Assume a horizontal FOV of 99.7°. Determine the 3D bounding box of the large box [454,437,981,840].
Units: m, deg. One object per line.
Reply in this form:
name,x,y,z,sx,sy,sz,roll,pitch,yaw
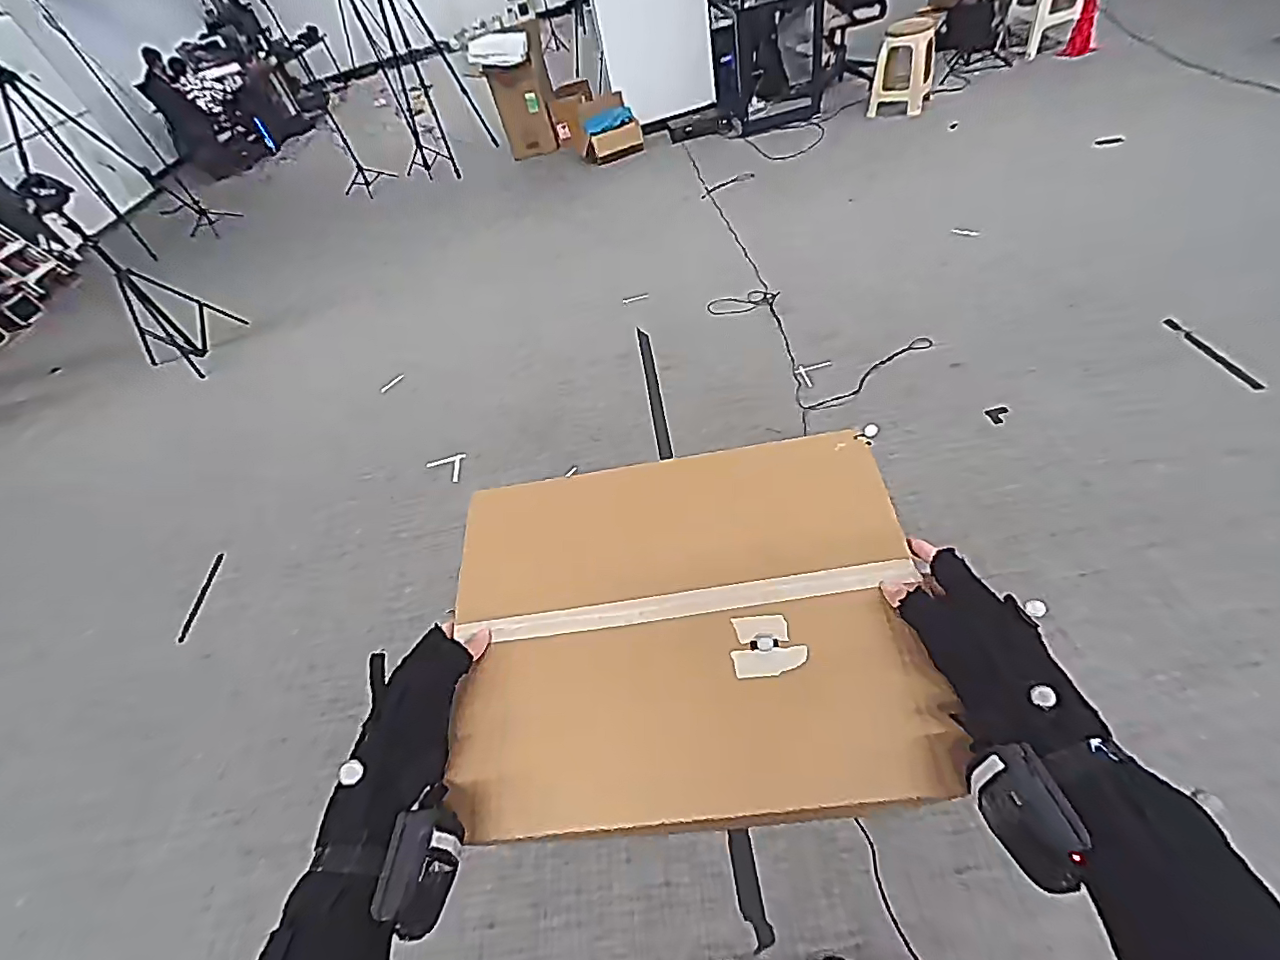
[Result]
large box,0.059,0.195,0.604,0.408,0.320,0.320,-9,56,5
